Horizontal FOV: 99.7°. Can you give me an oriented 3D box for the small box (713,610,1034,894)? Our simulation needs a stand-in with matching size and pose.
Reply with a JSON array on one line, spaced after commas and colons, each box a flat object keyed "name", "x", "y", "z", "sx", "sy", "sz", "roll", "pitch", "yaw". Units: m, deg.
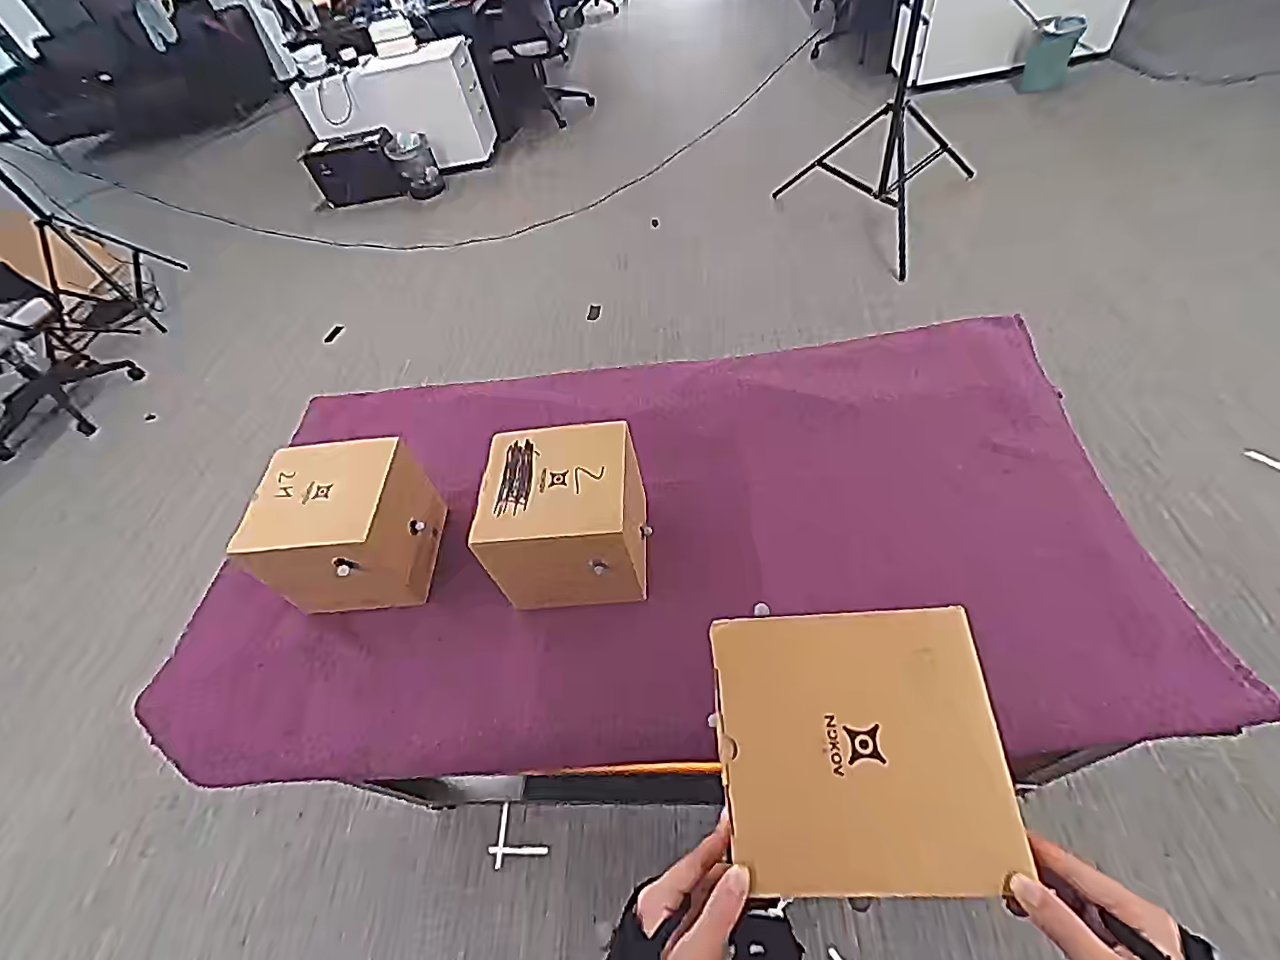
[{"name": "small box", "x": 0.154, "y": 0.202, "z": 0.427, "sx": 0.179, "sy": 0.176, "sz": 0.168, "roll": -7, "pitch": 66, "yaw": 8}]

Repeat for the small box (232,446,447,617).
[{"name": "small box", "x": -0.387, "y": 0.074, "z": 0.739, "sx": 0.179, "sy": 0.176, "sz": 0.168, "roll": -5, "pitch": 51, "yaw": 5}]
